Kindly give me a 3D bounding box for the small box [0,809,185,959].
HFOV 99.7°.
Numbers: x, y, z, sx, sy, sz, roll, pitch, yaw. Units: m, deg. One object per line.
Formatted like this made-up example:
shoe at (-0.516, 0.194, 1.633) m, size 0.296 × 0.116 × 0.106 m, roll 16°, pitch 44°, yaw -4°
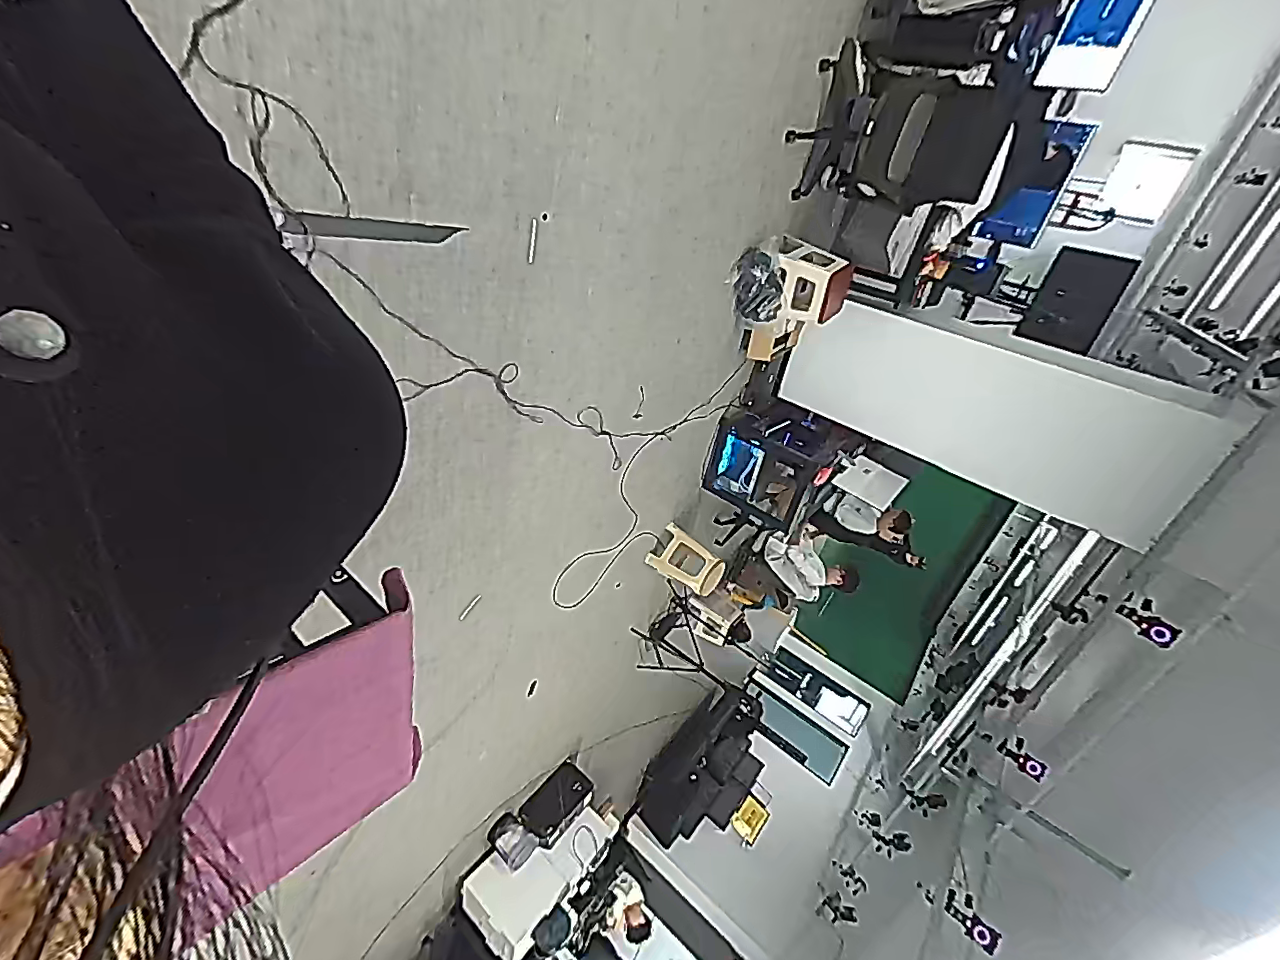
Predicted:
small box at (-0.793, 0.623, 0.772) m, size 0.168 × 0.176 × 0.179 m, roll -24°, pitch 137°, yaw -50°
